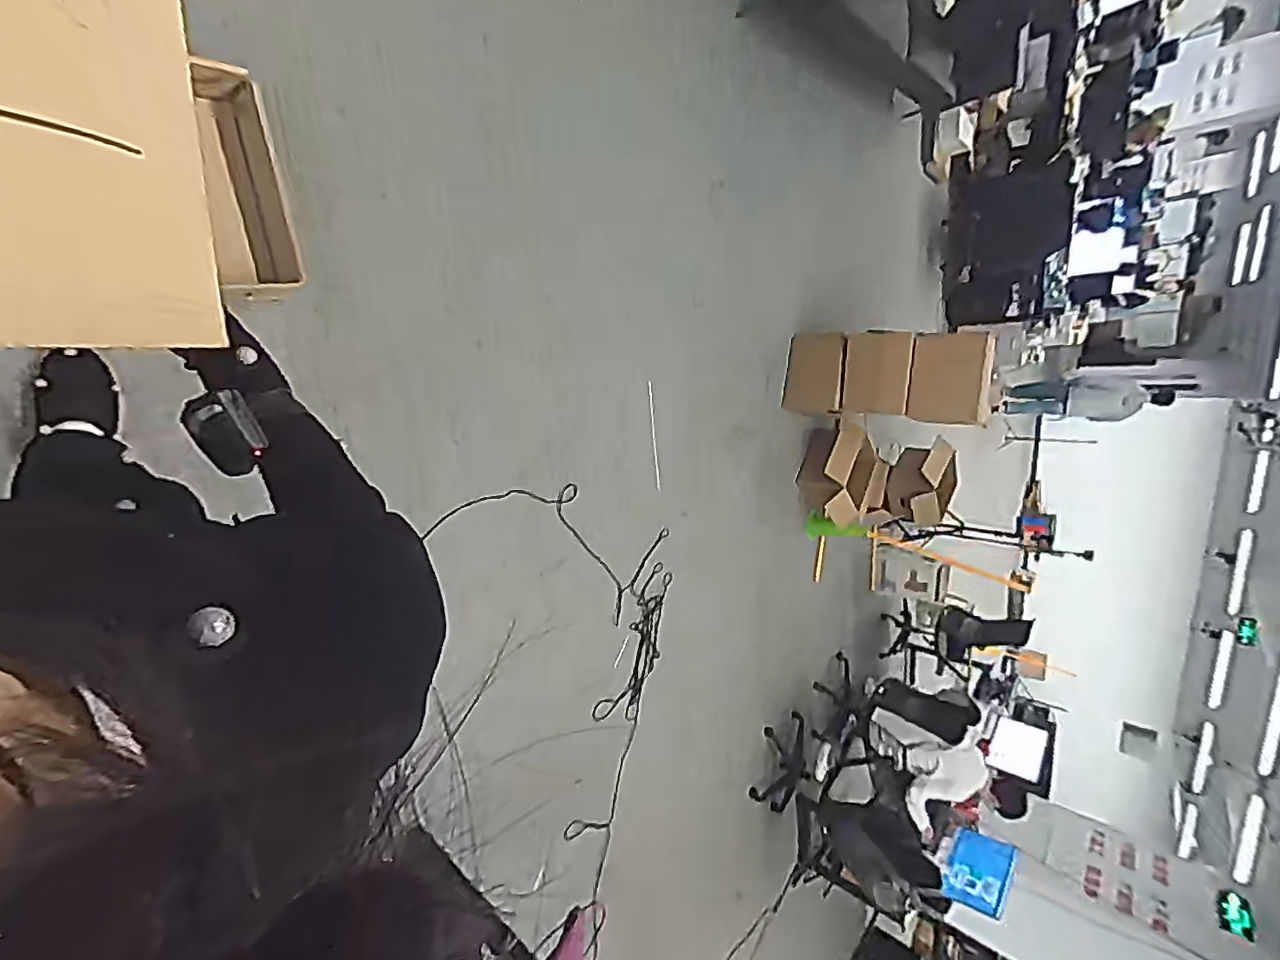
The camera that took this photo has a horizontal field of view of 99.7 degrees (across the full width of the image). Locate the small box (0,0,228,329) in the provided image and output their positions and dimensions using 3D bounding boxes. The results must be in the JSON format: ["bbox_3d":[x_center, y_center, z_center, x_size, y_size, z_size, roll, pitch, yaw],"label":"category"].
[{"bbox_3d":[-0.311,-0.157,0.226,0.179,0.176,0.168,-16,118,-49],"label":"small box"}]
